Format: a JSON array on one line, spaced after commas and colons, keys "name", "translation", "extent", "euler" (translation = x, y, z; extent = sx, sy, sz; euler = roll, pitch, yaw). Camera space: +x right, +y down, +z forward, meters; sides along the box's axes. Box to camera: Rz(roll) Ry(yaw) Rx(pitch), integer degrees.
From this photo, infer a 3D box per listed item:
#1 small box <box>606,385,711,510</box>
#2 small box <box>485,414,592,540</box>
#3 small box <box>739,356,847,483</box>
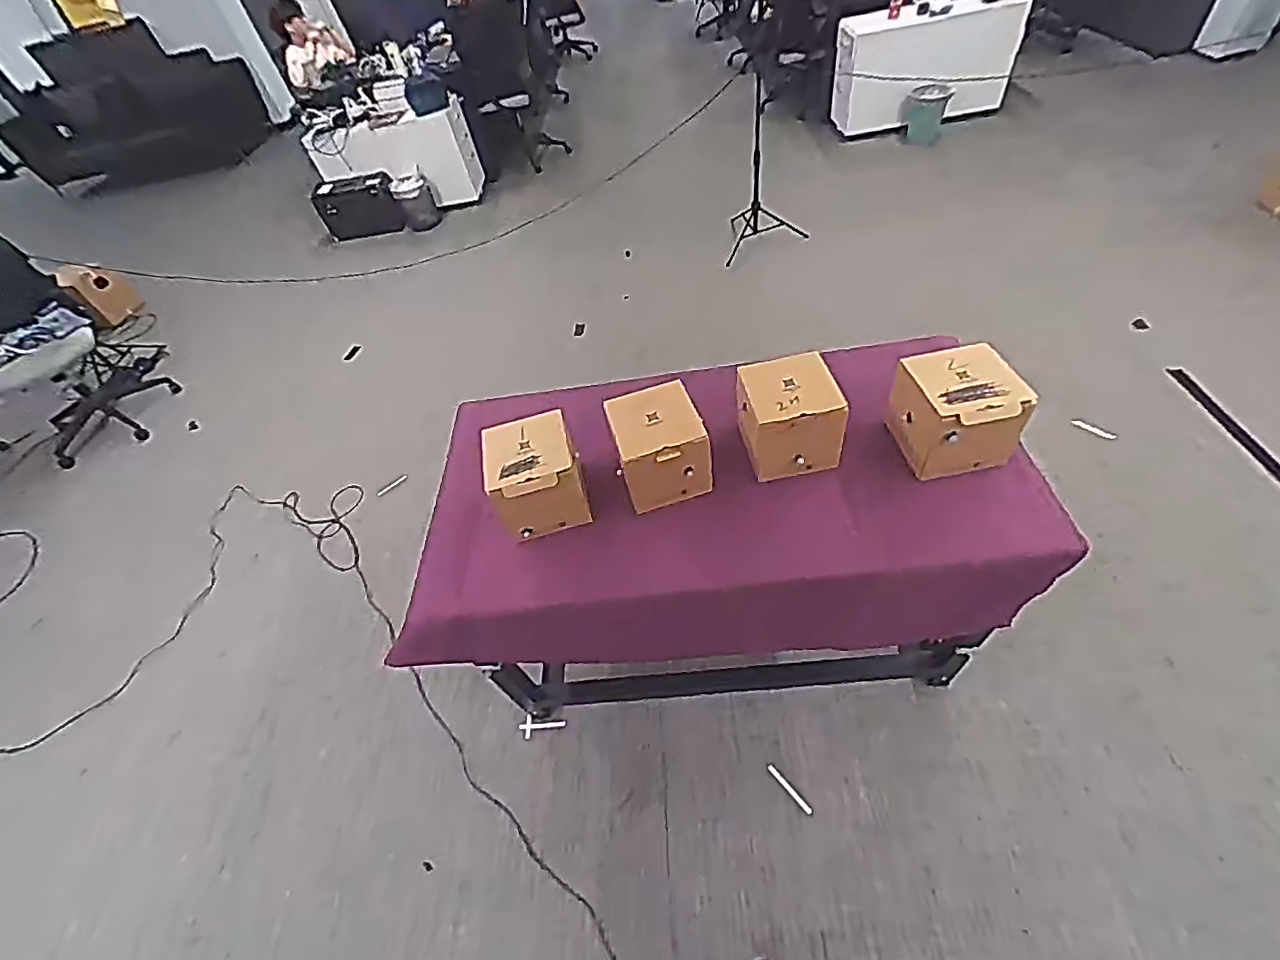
[{"name": "small box", "translation": [0.041, -0.058, 1.101], "extent": [0.168, 0.176, 0.179], "euler": [-17, 49, -3]}, {"name": "small box", "translation": [-0.203, 0.002, 1.098], "extent": [0.168, 0.176, 0.179], "euler": [-16, 49, -2]}, {"name": "small box", "translation": [0.299, -0.120, 1.096], "extent": [0.168, 0.176, 0.179], "euler": [-11, 50, 3]}]
